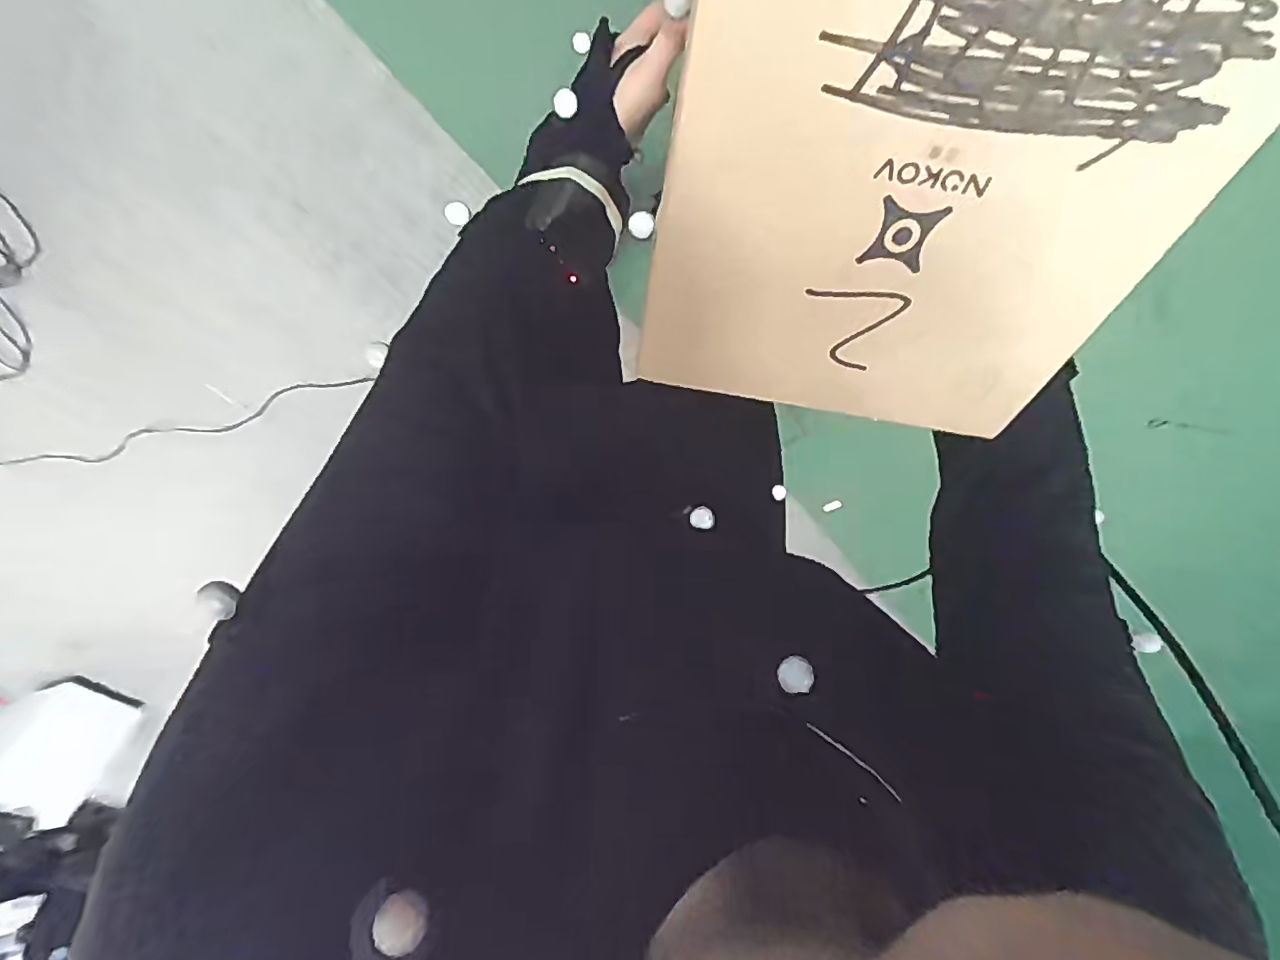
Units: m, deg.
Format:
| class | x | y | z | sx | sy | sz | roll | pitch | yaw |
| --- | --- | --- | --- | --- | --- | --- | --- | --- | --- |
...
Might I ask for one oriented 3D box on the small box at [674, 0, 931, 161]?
| class | x | y | z | sx | sy | sz | roll | pitch | yaw |
| --- | --- | --- | --- | --- | --- | --- | --- | --- | --- |
| small box | 0.127 | -0.398 | 0.437 | 0.168 | 0.176 | 0.179 | 10 | 140 | -4 |
